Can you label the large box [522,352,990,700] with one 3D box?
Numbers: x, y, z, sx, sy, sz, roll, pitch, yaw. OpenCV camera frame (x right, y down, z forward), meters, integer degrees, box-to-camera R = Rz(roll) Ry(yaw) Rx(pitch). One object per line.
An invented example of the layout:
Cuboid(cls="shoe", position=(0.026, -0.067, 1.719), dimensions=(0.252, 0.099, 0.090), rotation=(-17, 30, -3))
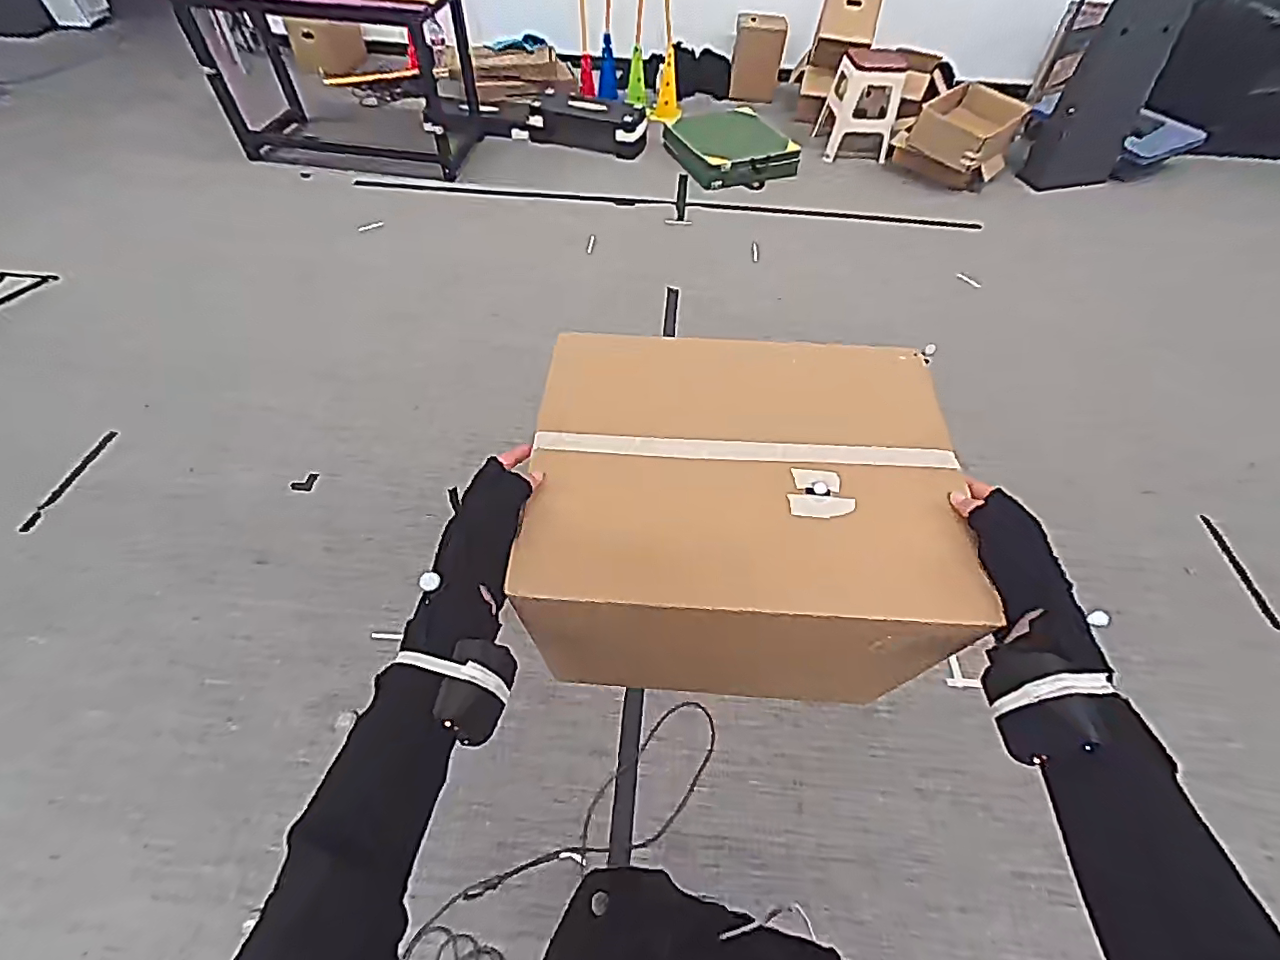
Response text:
Cuboid(cls="large box", position=(0.102, 0.068, 0.659), dimensions=(0.408, 0.320, 0.320), rotation=(3, 57, 2))
